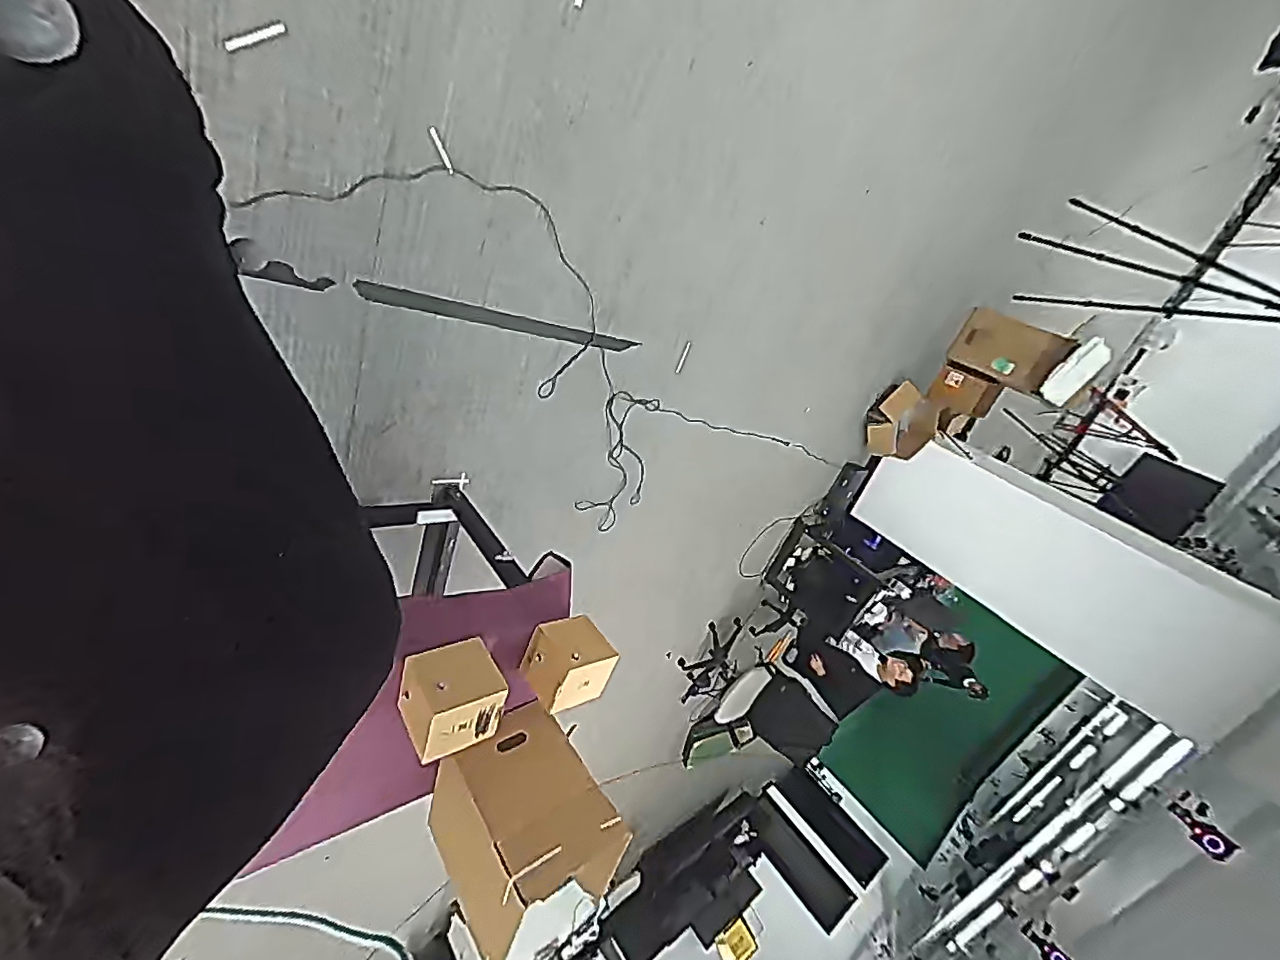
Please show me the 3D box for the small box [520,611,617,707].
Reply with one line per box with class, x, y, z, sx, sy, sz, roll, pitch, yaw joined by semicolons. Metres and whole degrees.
small box;-0.201;0.483;1.490;0.179;0.176;0.168;0;123;-44
